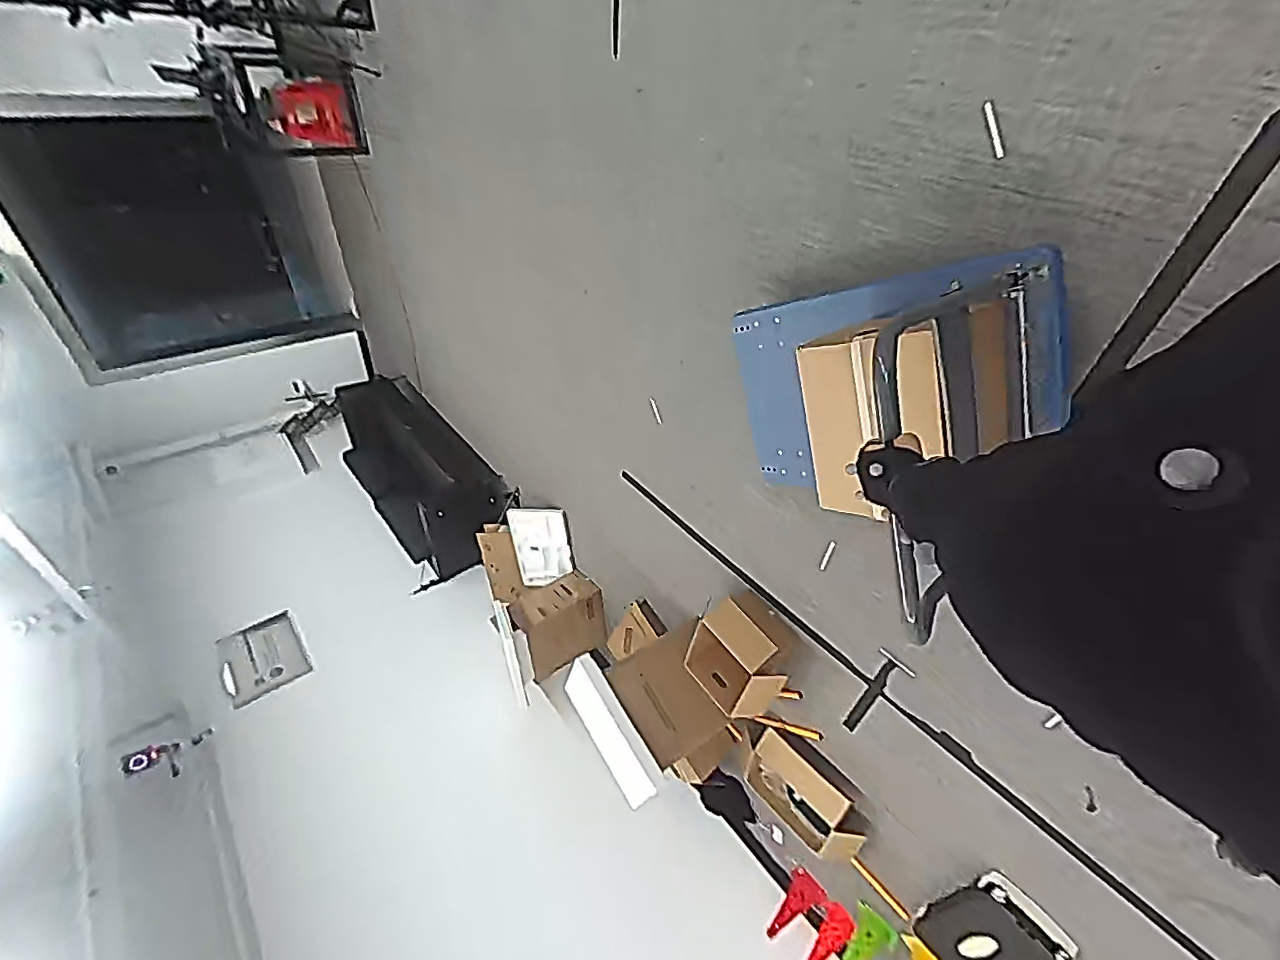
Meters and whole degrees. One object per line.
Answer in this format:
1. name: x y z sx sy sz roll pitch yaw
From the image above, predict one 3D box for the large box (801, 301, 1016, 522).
1. large box: 0.621 -0.159 1.243 0.320 0.320 0.408 8 117 53
